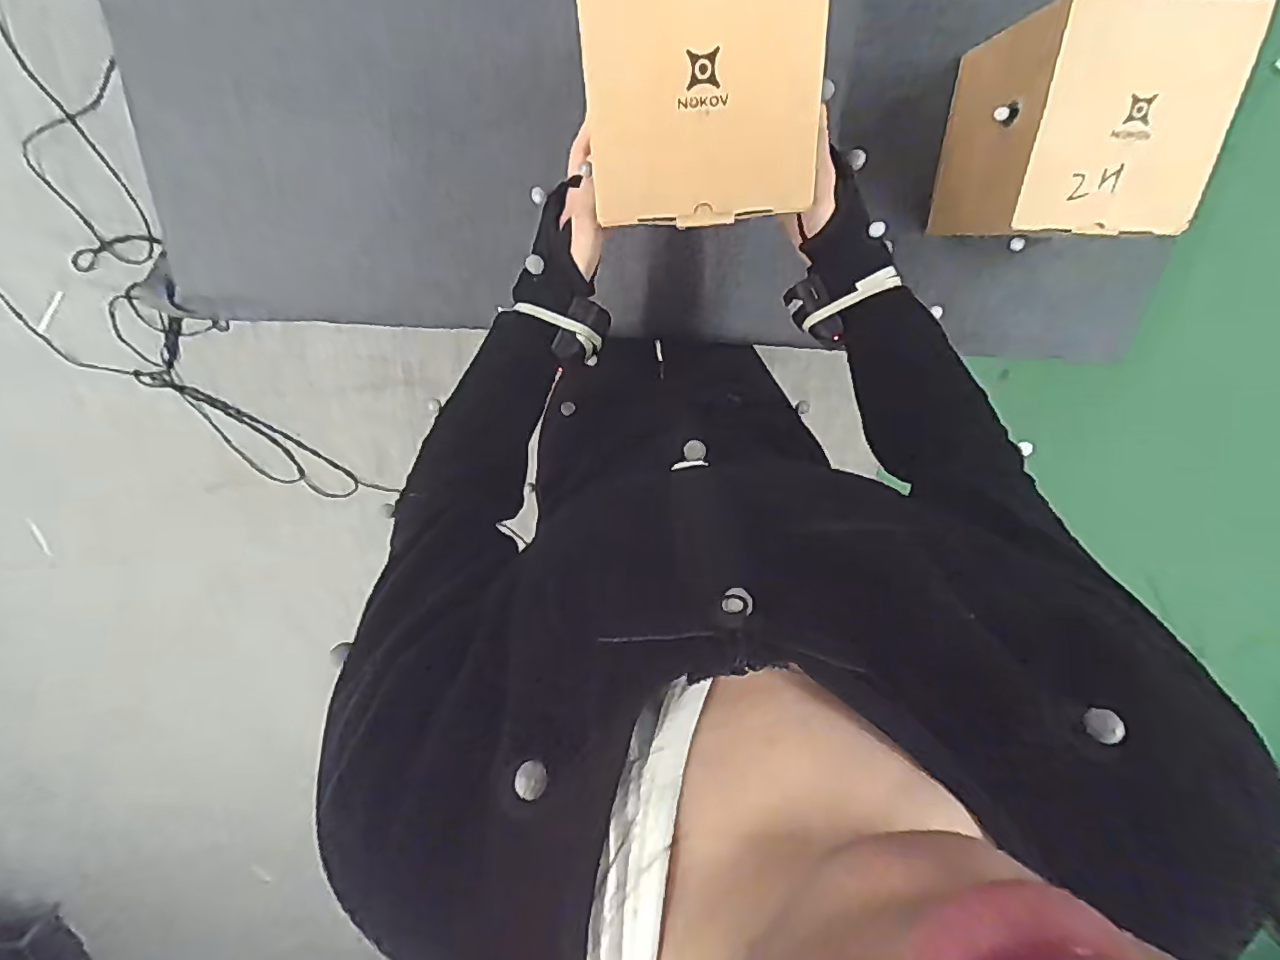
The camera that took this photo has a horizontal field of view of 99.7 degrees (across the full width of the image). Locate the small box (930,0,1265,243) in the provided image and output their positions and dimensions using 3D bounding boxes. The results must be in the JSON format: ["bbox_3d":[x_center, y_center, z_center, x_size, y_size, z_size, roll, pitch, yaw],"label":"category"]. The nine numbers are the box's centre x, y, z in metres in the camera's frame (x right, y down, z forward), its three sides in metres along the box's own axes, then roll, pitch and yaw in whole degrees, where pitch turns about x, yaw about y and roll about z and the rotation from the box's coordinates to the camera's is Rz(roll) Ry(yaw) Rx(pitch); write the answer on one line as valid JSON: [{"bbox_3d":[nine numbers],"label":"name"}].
[{"bbox_3d":[0.421,-0.337,0.541,0.168,0.176,0.179,2,114,1],"label":"small box"}]
